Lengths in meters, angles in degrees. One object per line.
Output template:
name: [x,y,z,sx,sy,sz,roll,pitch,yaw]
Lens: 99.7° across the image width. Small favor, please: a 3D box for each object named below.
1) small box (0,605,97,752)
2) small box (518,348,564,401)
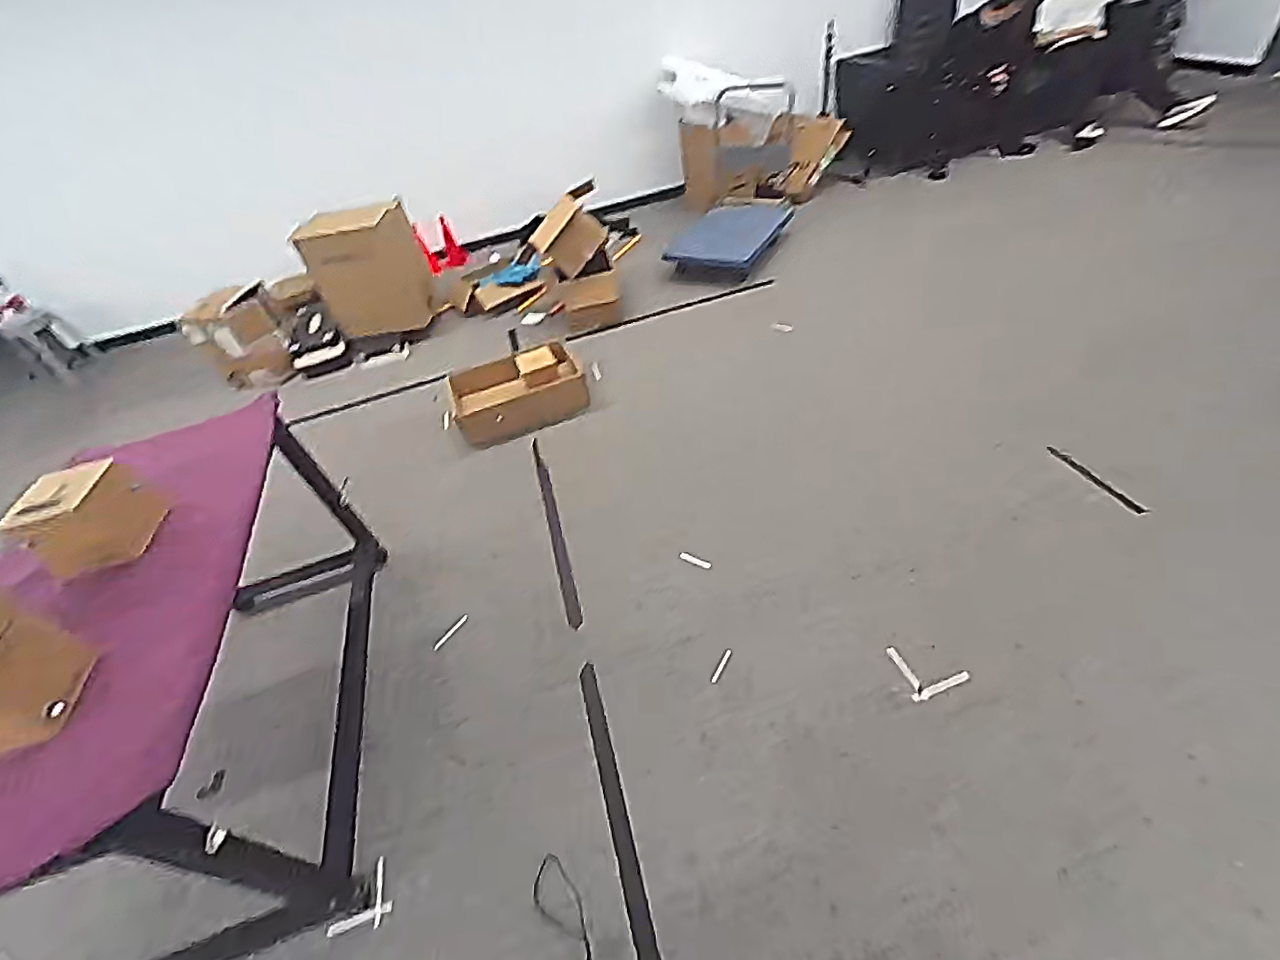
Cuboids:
small box: [-1.093,0.346,0.907,0.179,0.176,0.168,-18,43,-6]
small box: [-0.487,-0.519,2.662,0.168,0.176,0.179,-21,44,-9]
